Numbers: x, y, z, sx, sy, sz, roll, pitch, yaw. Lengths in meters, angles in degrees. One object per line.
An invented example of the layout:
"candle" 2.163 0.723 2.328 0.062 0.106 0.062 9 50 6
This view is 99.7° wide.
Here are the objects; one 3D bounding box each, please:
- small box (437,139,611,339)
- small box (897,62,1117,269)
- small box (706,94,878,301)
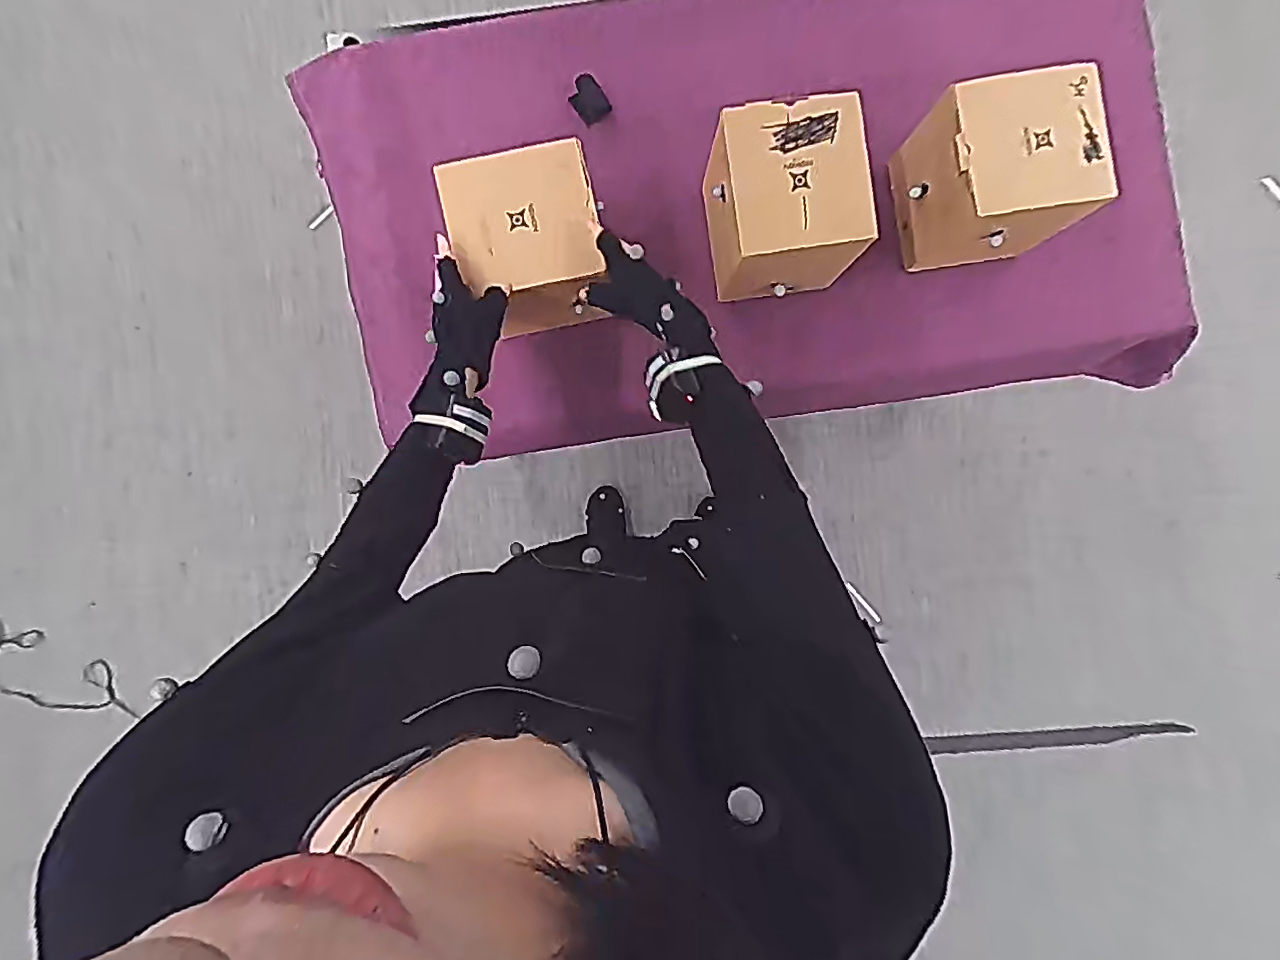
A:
"small box" -0.137 -0.301 0.710 0.179 0.176 0.168 -13 88 0
"small box" 0.465 -0.400 0.719 0.179 0.176 0.168 -9 89 0
"small box" 0.187 -0.358 0.714 0.168 0.176 0.179 -8 90 -1
